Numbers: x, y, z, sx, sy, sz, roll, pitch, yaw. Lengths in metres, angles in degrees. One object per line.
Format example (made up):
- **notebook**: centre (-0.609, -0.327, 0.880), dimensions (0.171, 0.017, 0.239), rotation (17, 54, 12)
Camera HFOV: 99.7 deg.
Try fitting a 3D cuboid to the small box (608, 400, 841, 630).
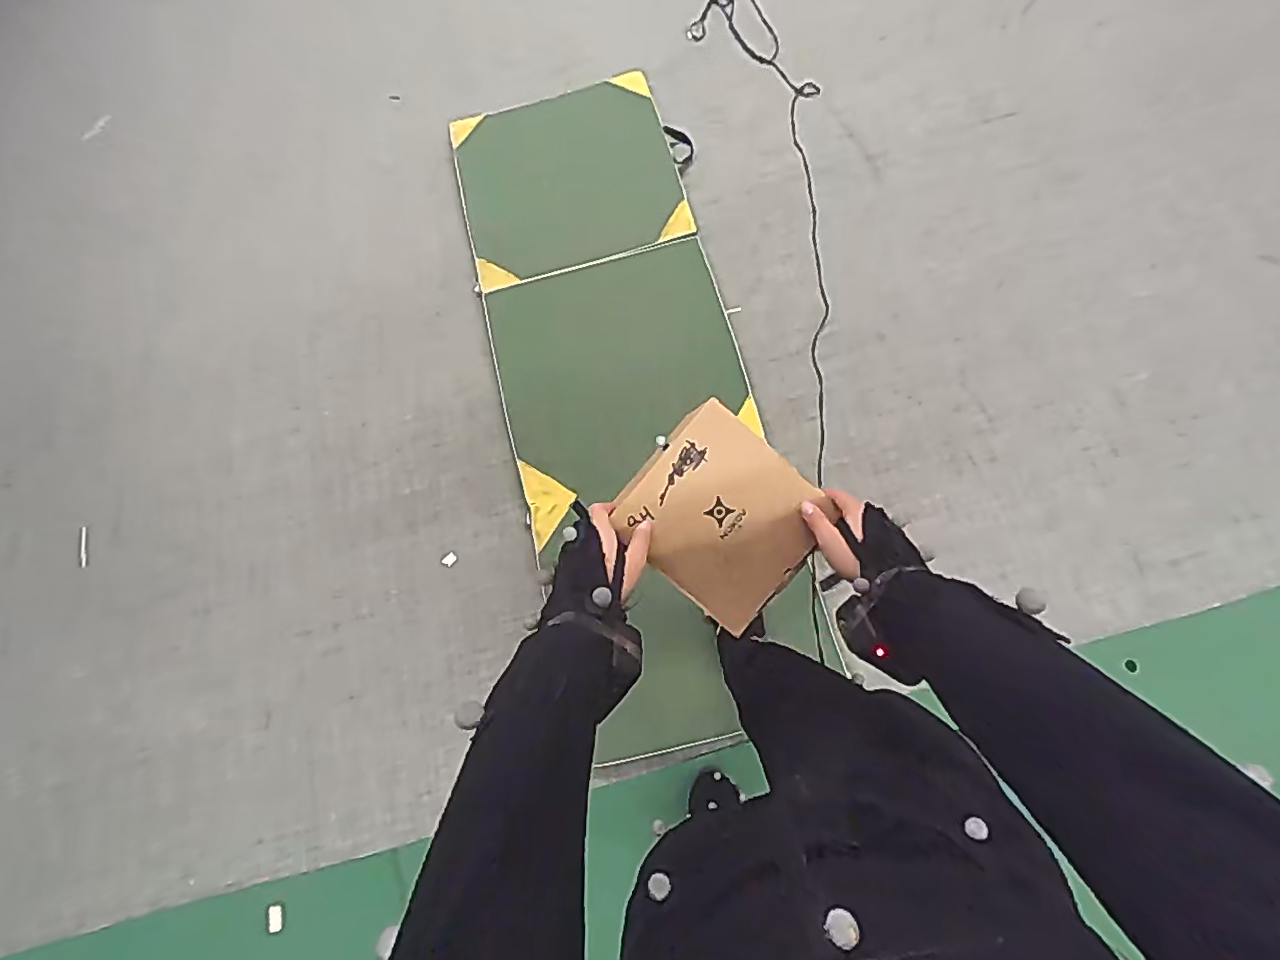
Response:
- **small box**: centre (0.082, 0.033, 0.613), dimensions (0.179, 0.176, 0.168), rotation (41, 89, -2)
